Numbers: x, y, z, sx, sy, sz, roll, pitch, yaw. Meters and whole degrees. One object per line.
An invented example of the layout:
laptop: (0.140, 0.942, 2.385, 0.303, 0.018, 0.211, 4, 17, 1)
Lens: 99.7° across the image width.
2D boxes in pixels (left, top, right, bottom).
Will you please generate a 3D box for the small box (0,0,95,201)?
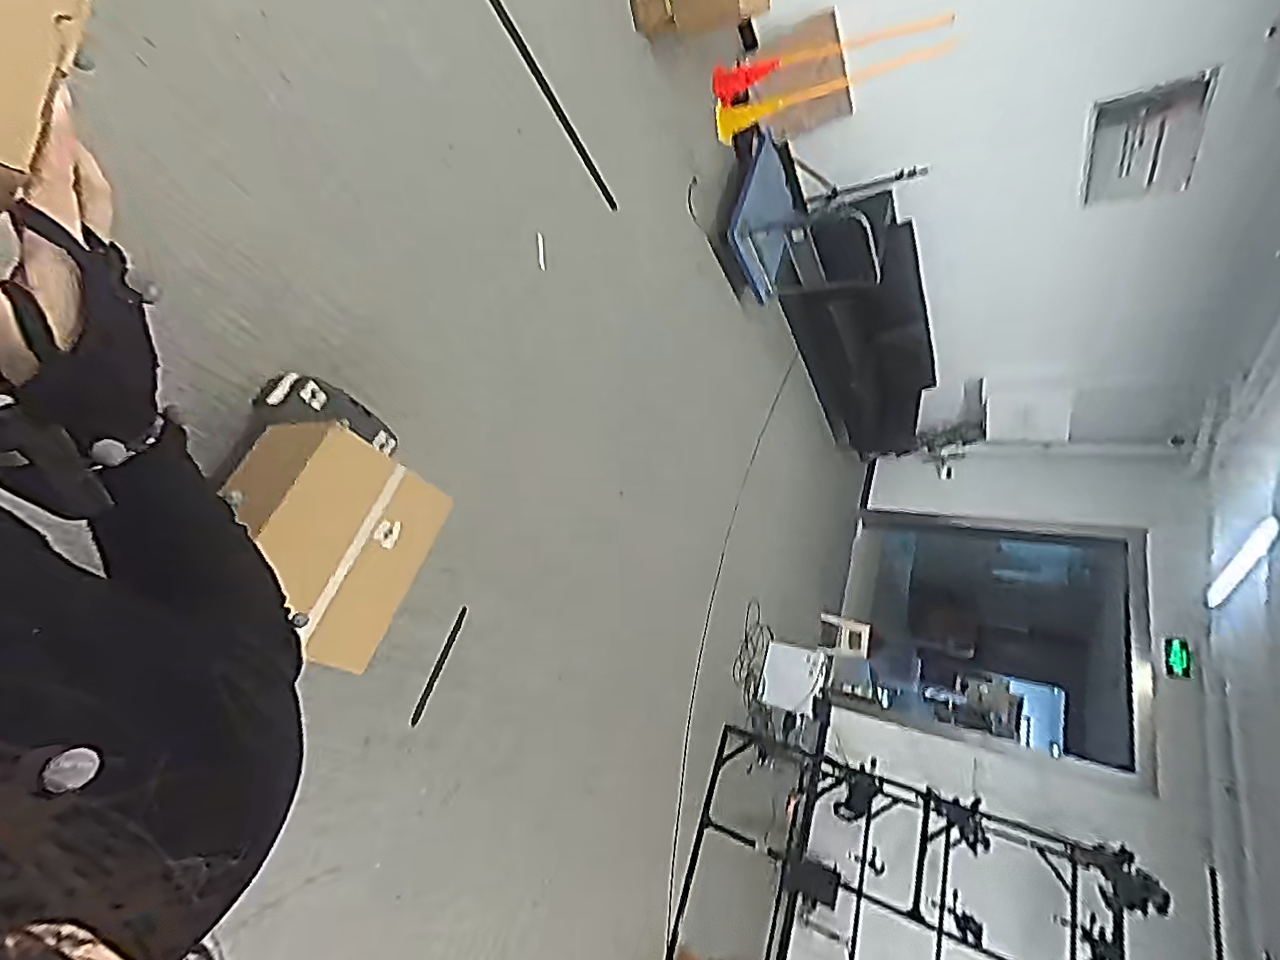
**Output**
small box: (-0.389, -0.240, 0.240, 0.179, 0.176, 0.168, 20, 72, -54)

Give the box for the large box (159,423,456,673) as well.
large box: (-0.671, 0.137, 1.127, 0.320, 0.320, 0.408, 47, 54, -46)
